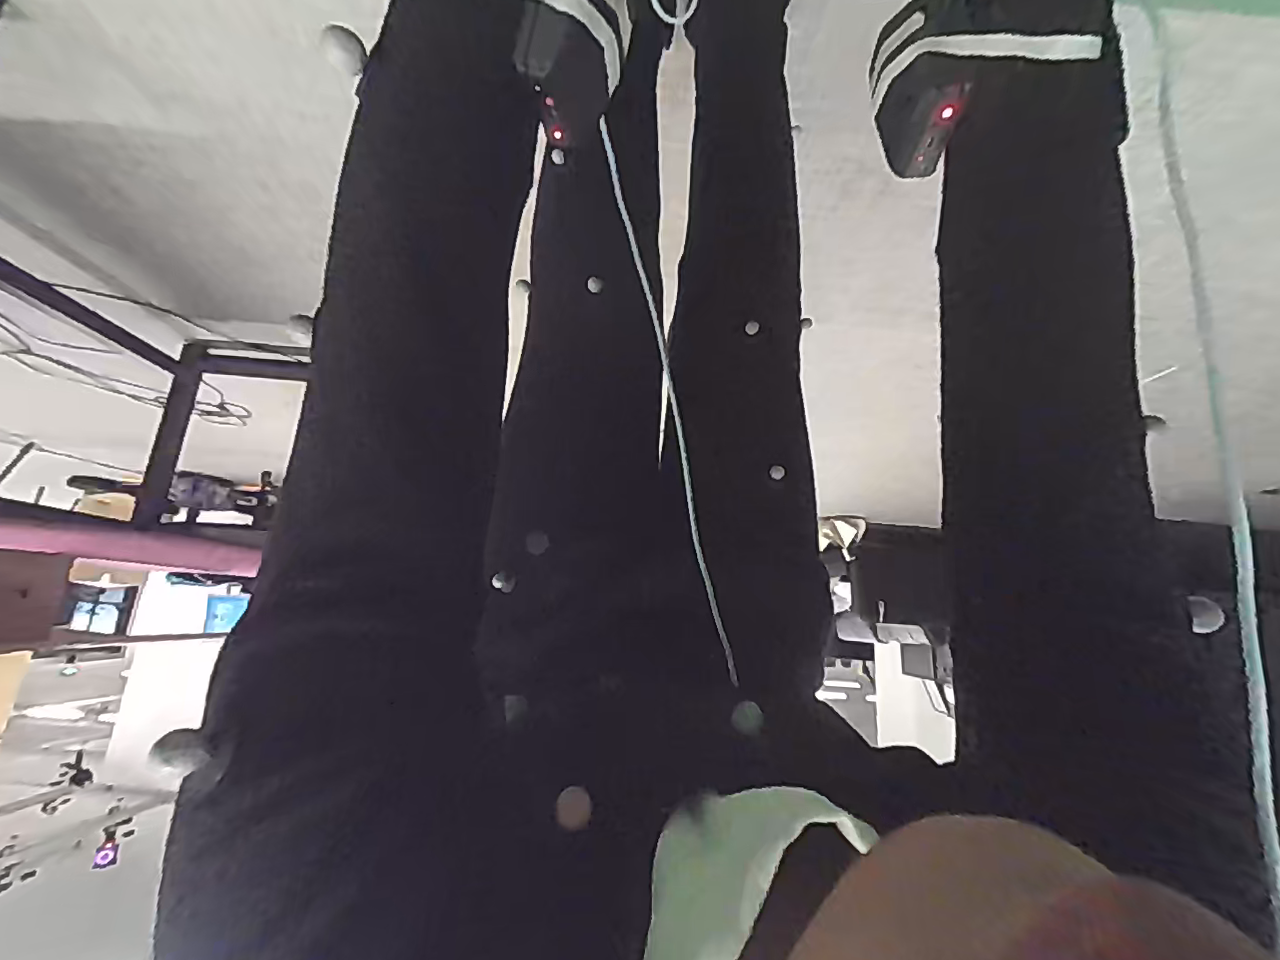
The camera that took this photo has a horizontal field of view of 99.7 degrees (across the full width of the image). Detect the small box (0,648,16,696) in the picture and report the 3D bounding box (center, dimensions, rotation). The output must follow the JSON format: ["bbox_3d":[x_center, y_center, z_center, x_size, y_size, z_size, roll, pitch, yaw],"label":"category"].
[{"bbox_3d":[-1.281,0.378,0.944,0.179,0.176,0.168,7,166,-3],"label":"small box"}]
